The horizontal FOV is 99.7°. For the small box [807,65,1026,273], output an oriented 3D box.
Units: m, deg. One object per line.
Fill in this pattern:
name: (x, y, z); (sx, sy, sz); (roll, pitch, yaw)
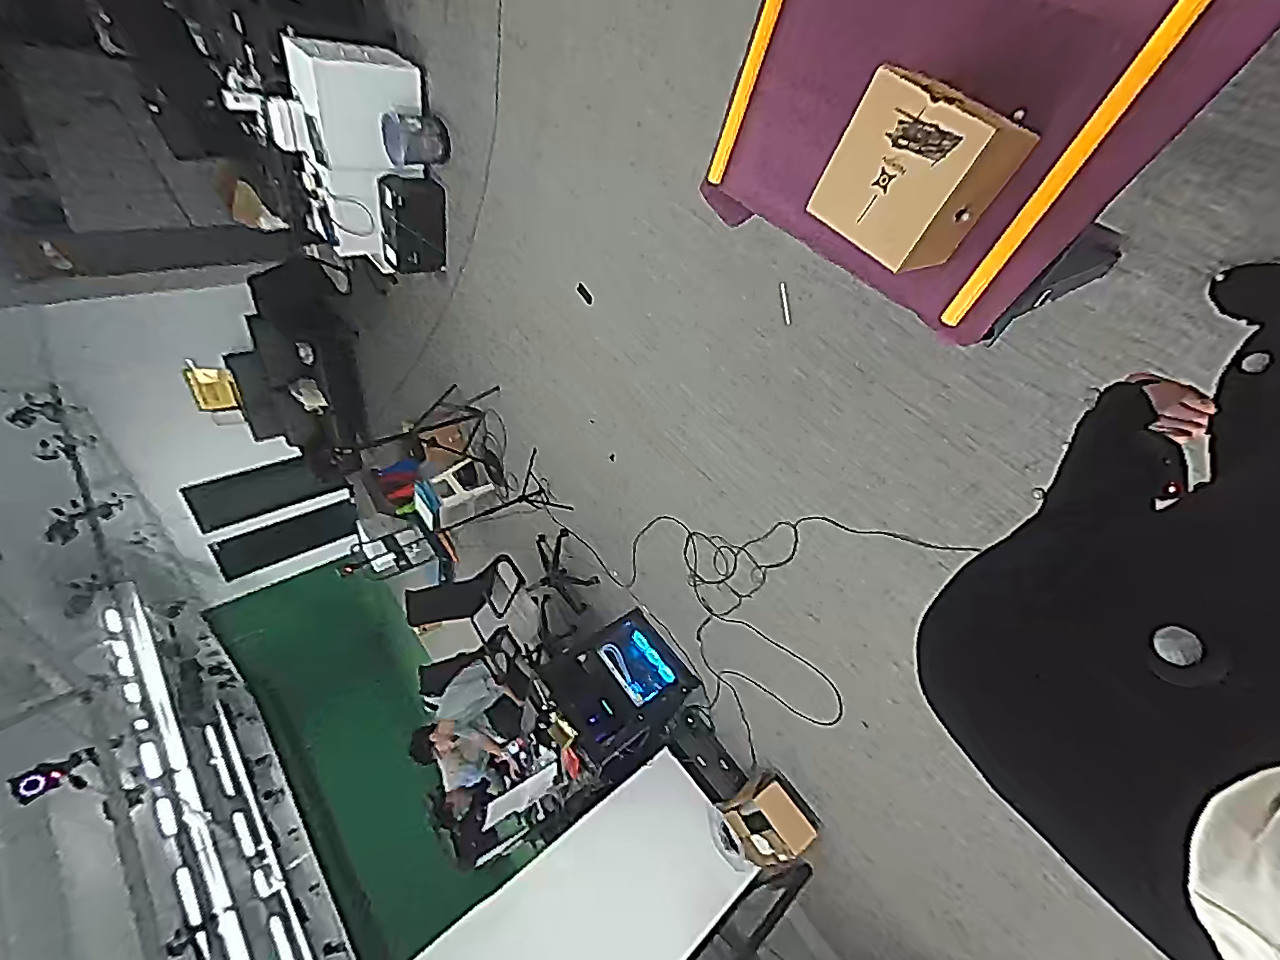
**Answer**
small box: (0.366, -0.405, 0.715); (0.168, 0.176, 0.179); (49, 141, 21)
